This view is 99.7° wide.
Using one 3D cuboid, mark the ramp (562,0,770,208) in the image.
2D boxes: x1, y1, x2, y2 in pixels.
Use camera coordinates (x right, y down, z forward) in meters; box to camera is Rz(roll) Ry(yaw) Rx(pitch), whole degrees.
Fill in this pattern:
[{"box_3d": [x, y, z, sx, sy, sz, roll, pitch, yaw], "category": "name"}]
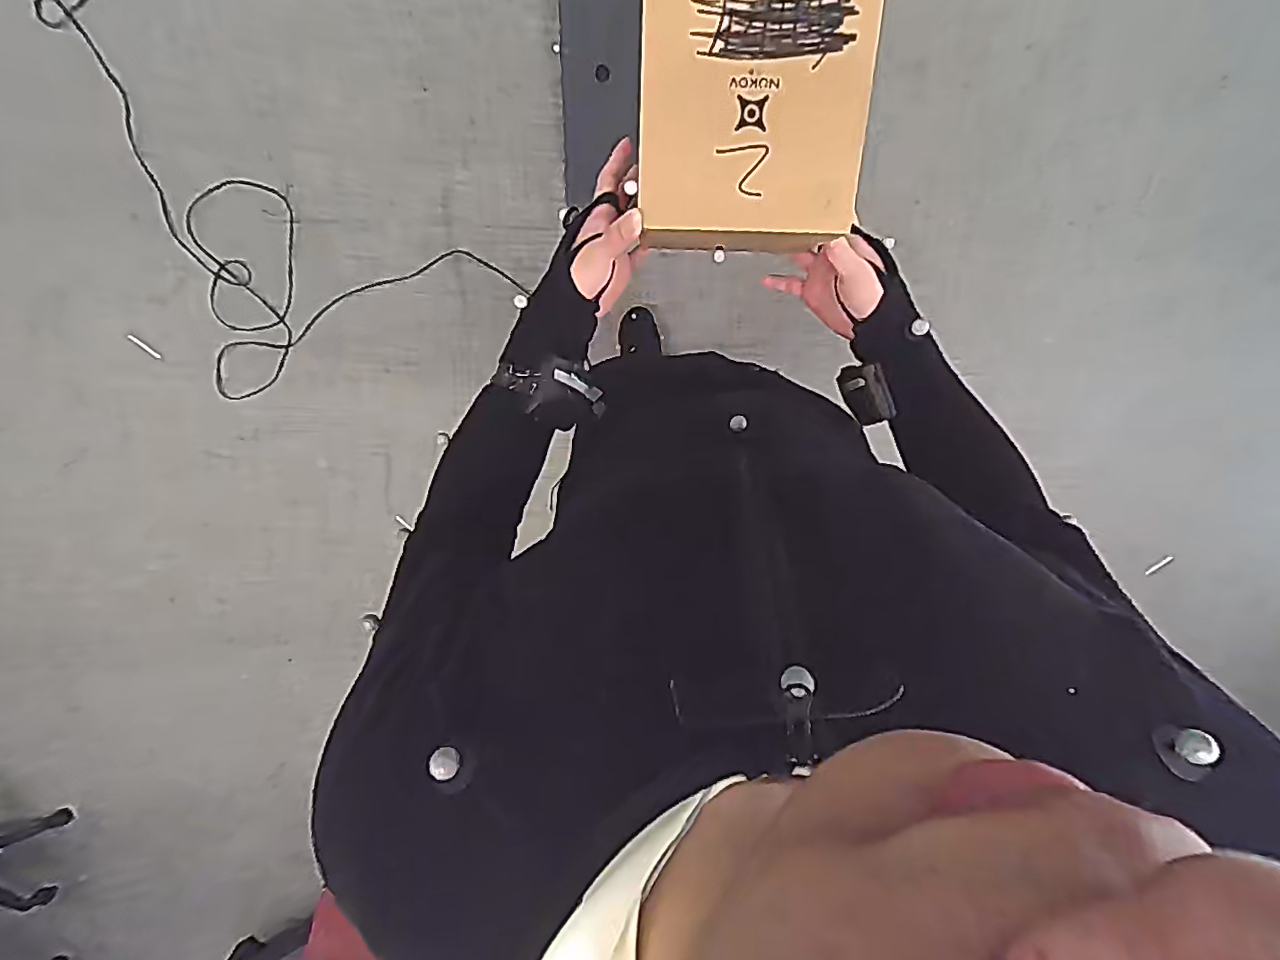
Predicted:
[{"box_3d": [0.064, -1.184, 1.241, 0.509, 0.206, 0.991, -2, 105, -2], "category": "ramp"}]
